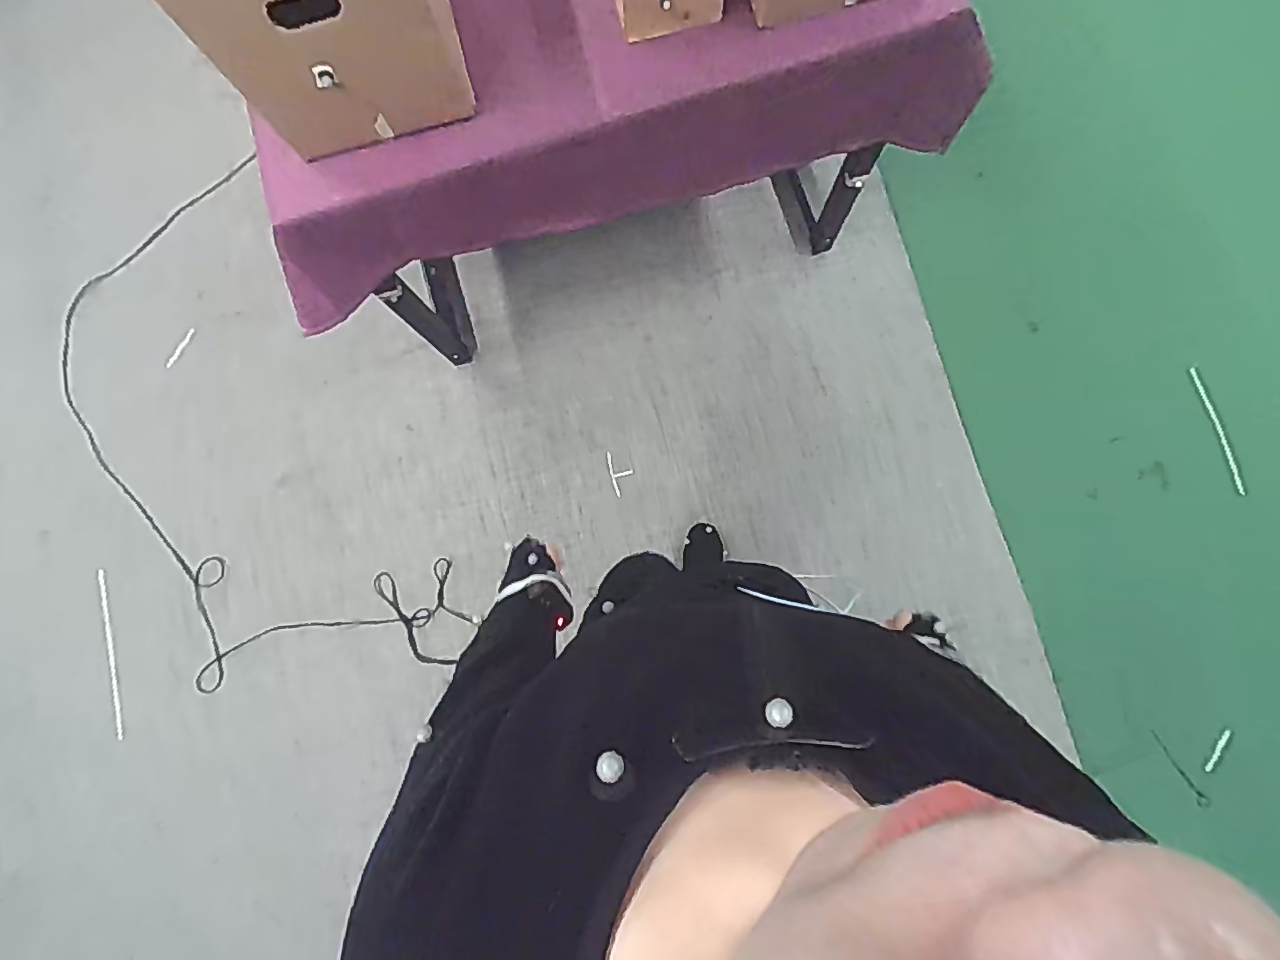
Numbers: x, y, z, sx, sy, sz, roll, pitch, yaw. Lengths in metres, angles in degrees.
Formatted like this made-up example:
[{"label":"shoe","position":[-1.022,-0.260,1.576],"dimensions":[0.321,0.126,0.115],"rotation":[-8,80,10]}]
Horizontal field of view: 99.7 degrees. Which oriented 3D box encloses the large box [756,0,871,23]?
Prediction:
[{"label":"large box","position":[0.299,-1.005,0.783],"dimensions":[0.320,0.320,0.408],"rotation":[-14,83,0]}]
